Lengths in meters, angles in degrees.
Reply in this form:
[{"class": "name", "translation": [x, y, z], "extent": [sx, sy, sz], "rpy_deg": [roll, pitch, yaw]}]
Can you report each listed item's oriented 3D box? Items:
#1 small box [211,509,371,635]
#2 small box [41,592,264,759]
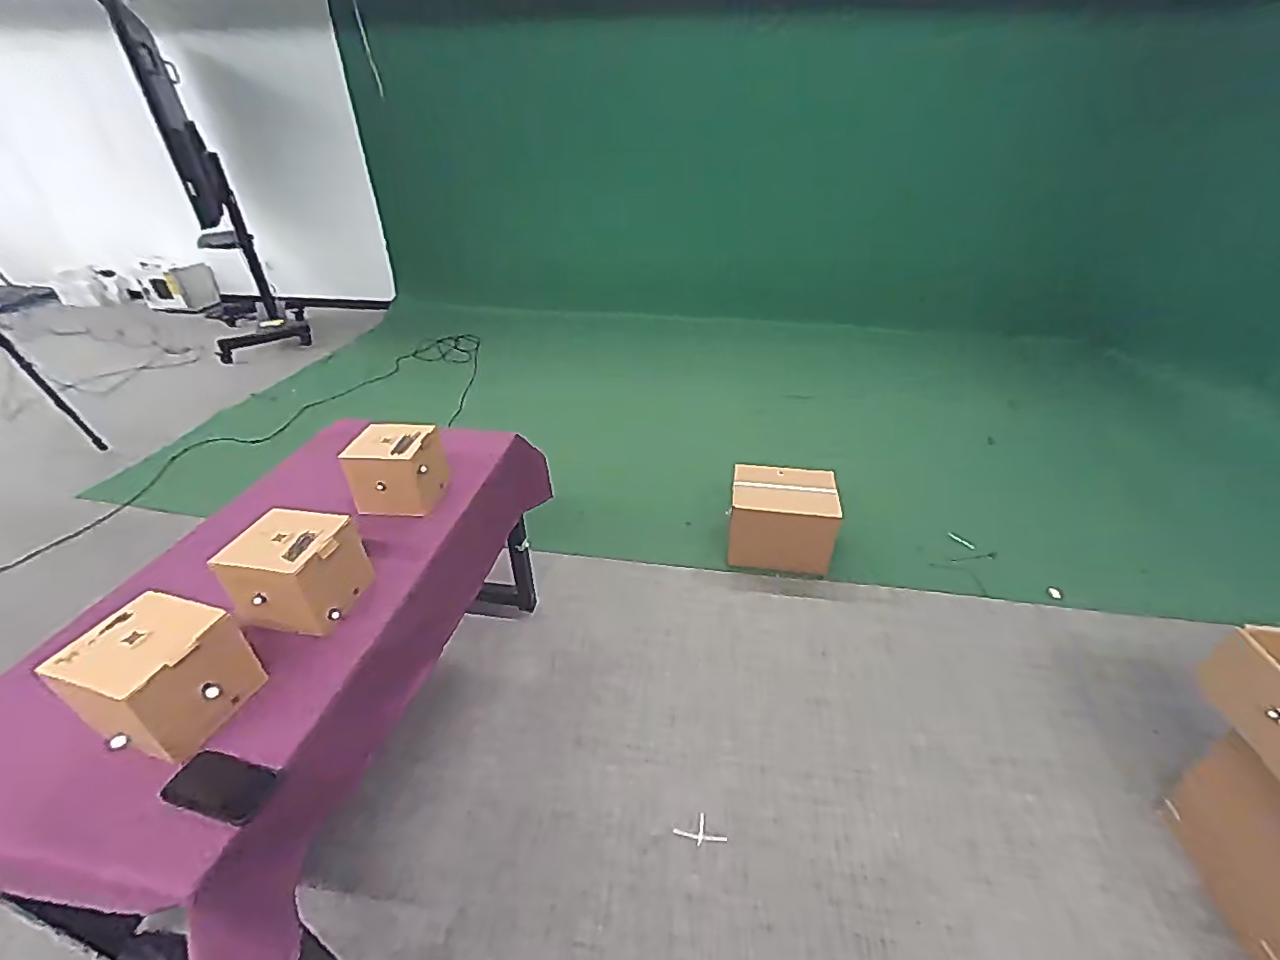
[{"class": "small box", "translation": [-0.661, 0.179, 1.051], "extent": [0.179, 0.176, 0.168], "rpy_deg": [5, 34, 9]}, {"class": "small box", "translation": [-0.752, 0.310, 0.859], "extent": [0.179, 0.176, 0.168], "rpy_deg": [10, 35, 14]}]
